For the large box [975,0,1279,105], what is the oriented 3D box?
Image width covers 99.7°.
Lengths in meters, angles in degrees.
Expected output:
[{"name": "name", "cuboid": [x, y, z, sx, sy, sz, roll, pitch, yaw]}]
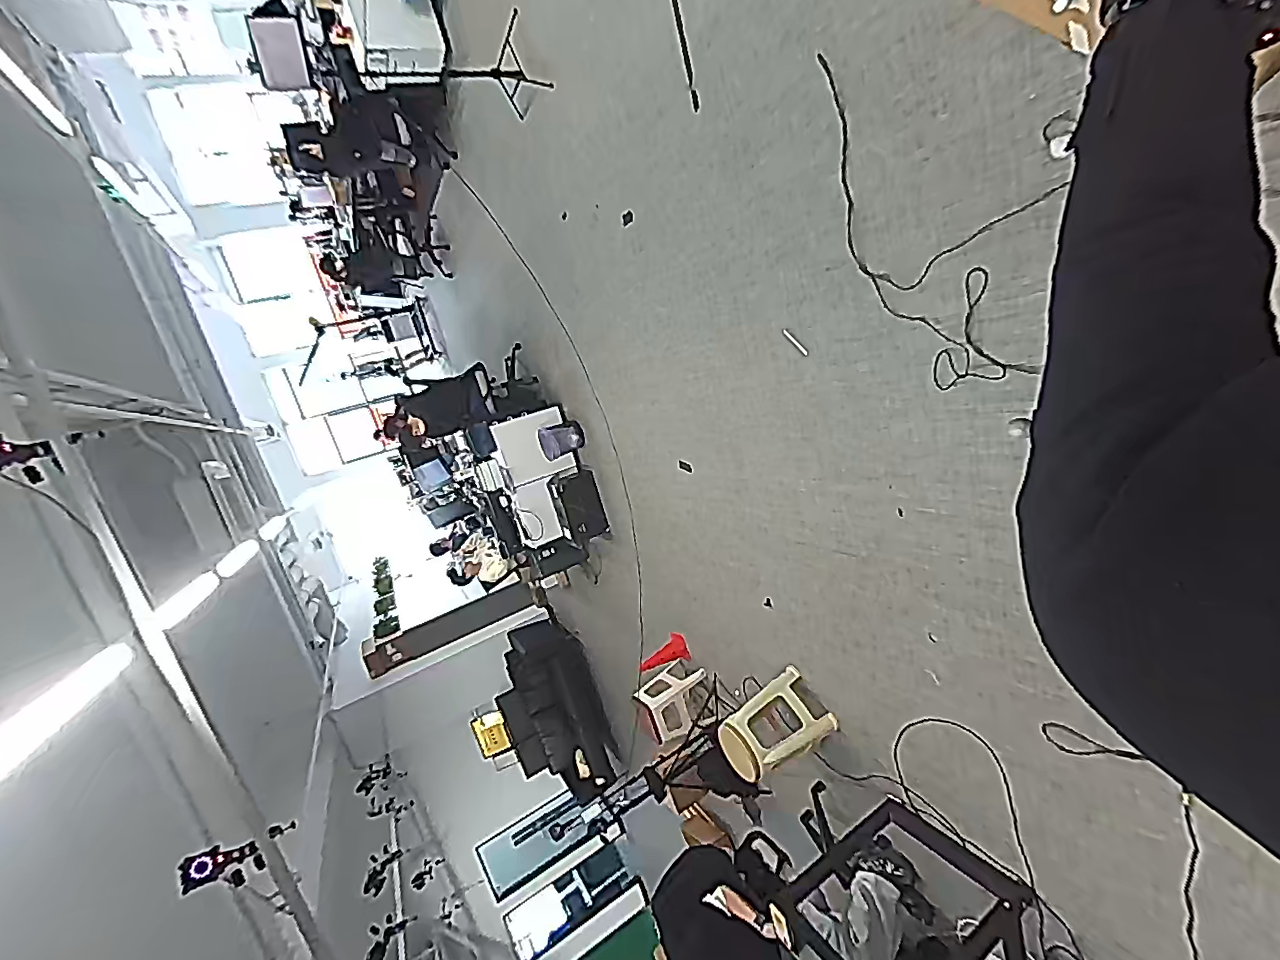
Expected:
[{"name": "large box", "cuboid": [0.498, -0.589, 0.371, 0.320, 0.320, 0.408, 49, 119, 20]}]
